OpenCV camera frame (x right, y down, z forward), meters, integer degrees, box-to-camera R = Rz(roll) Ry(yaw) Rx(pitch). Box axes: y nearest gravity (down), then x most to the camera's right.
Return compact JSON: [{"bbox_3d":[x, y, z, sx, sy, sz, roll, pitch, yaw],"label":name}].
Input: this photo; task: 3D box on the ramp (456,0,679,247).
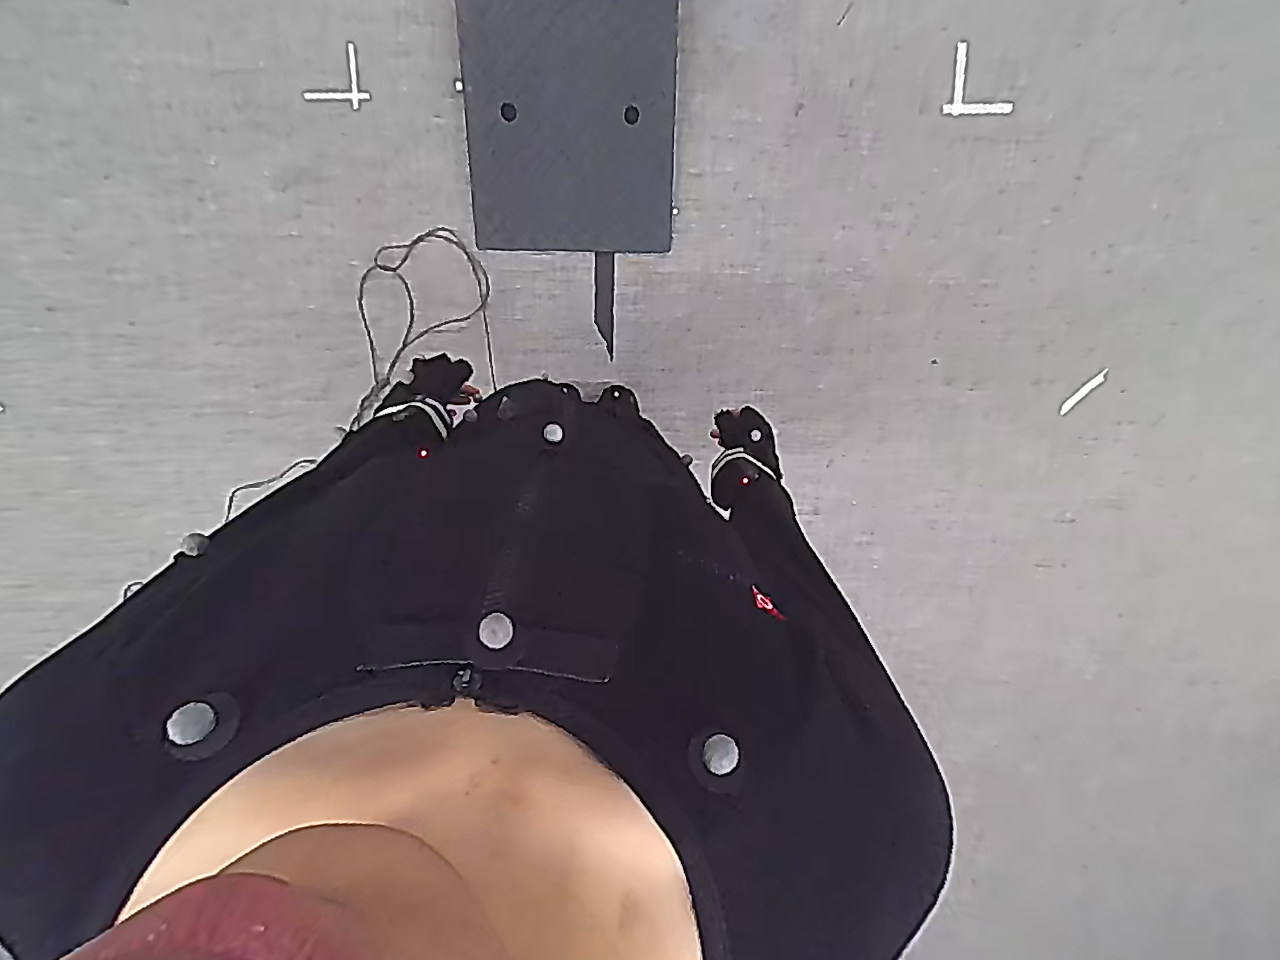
[{"bbox_3d":[-0.155,-1.055,1.185,0.509,0.206,0.991,-2,101,-2],"label":"ramp"}]
